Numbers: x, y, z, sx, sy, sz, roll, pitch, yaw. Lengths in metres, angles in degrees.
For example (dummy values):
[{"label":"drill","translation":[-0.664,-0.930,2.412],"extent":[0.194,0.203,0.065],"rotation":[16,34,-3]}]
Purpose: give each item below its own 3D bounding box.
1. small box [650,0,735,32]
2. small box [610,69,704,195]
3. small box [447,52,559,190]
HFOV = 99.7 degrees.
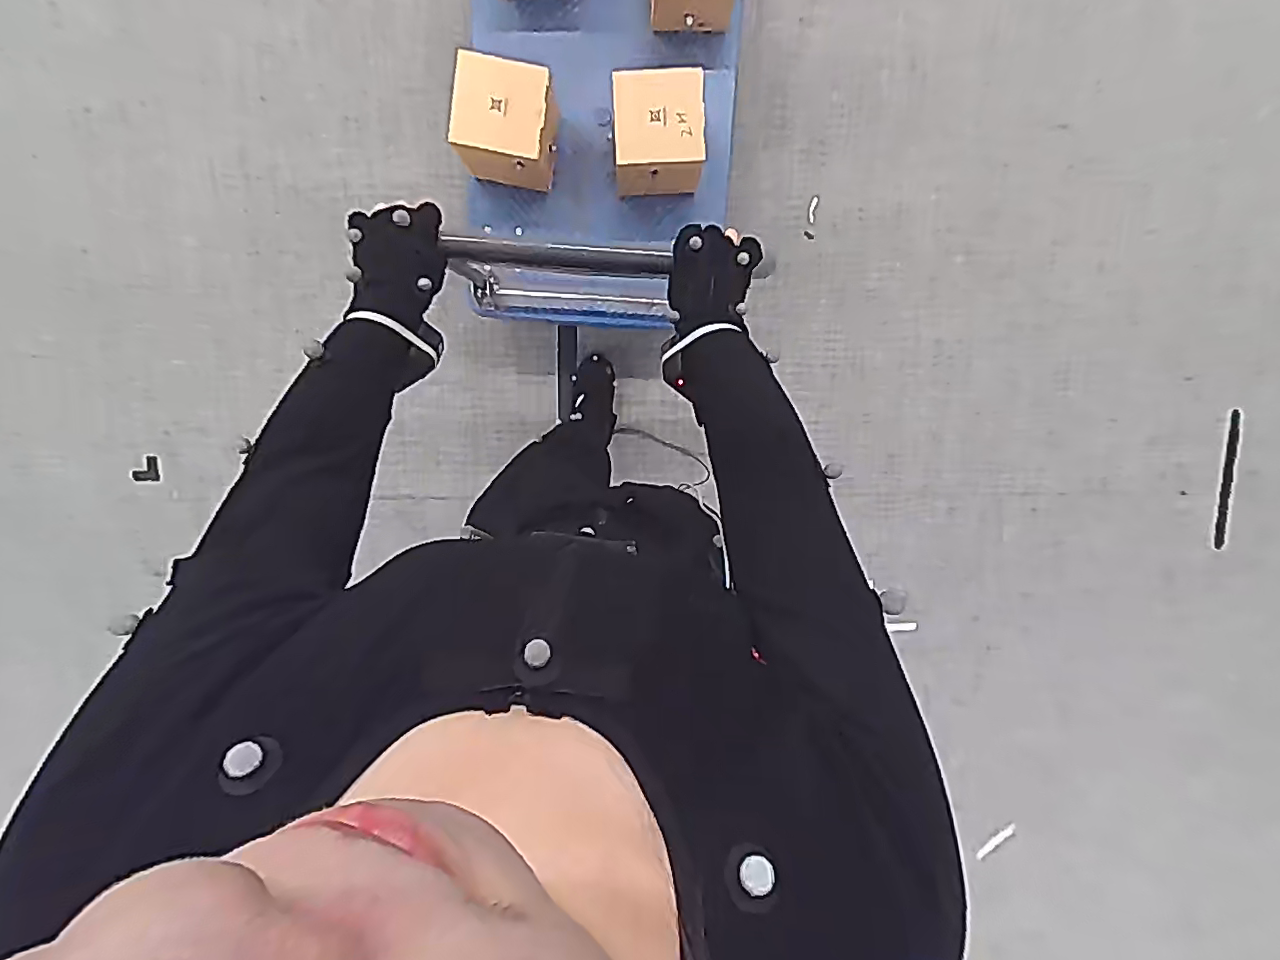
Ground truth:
[{"label":"small box","translation":[0.105,-1.023,1.050],"extent":[0.168,0.176,0.179],"rotation":[-1,100,-1]},{"label":"small box","translation":[0.035,-0.698,1.102],"extent":[0.179,0.176,0.168],"rotation":[-3,99,0]},{"label":"small box","translation":[-0.270,-0.713,1.095],"extent":[0.179,0.176,0.168],"rotation":[9,98,-4]}]
